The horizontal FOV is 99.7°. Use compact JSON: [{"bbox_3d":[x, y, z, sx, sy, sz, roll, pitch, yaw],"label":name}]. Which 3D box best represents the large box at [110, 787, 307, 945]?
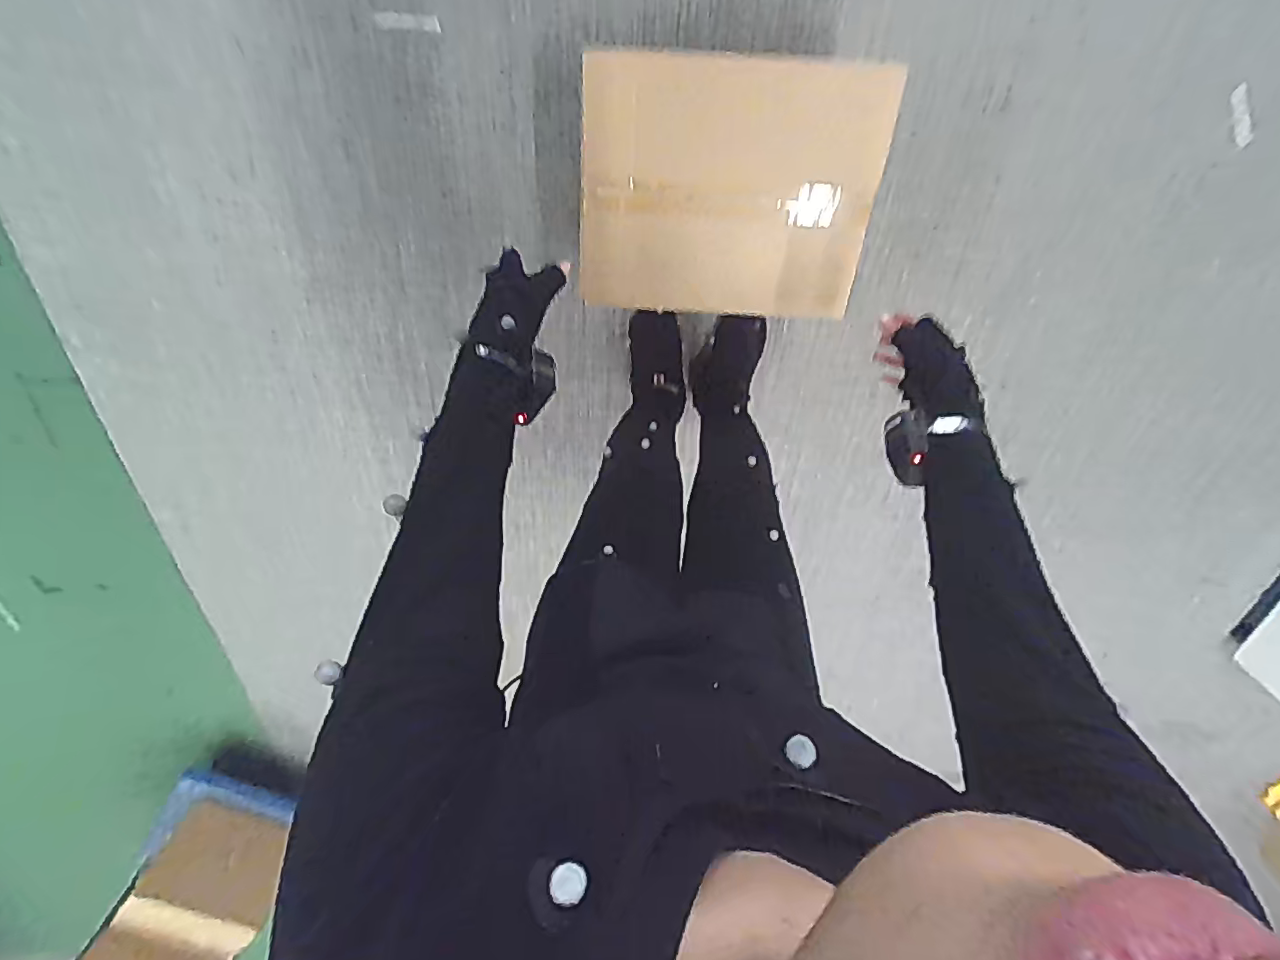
[{"bbox_3d":[-1.493,1.353,1.899,0.408,0.320,0.320,35,118,-19],"label":"large box"}]
